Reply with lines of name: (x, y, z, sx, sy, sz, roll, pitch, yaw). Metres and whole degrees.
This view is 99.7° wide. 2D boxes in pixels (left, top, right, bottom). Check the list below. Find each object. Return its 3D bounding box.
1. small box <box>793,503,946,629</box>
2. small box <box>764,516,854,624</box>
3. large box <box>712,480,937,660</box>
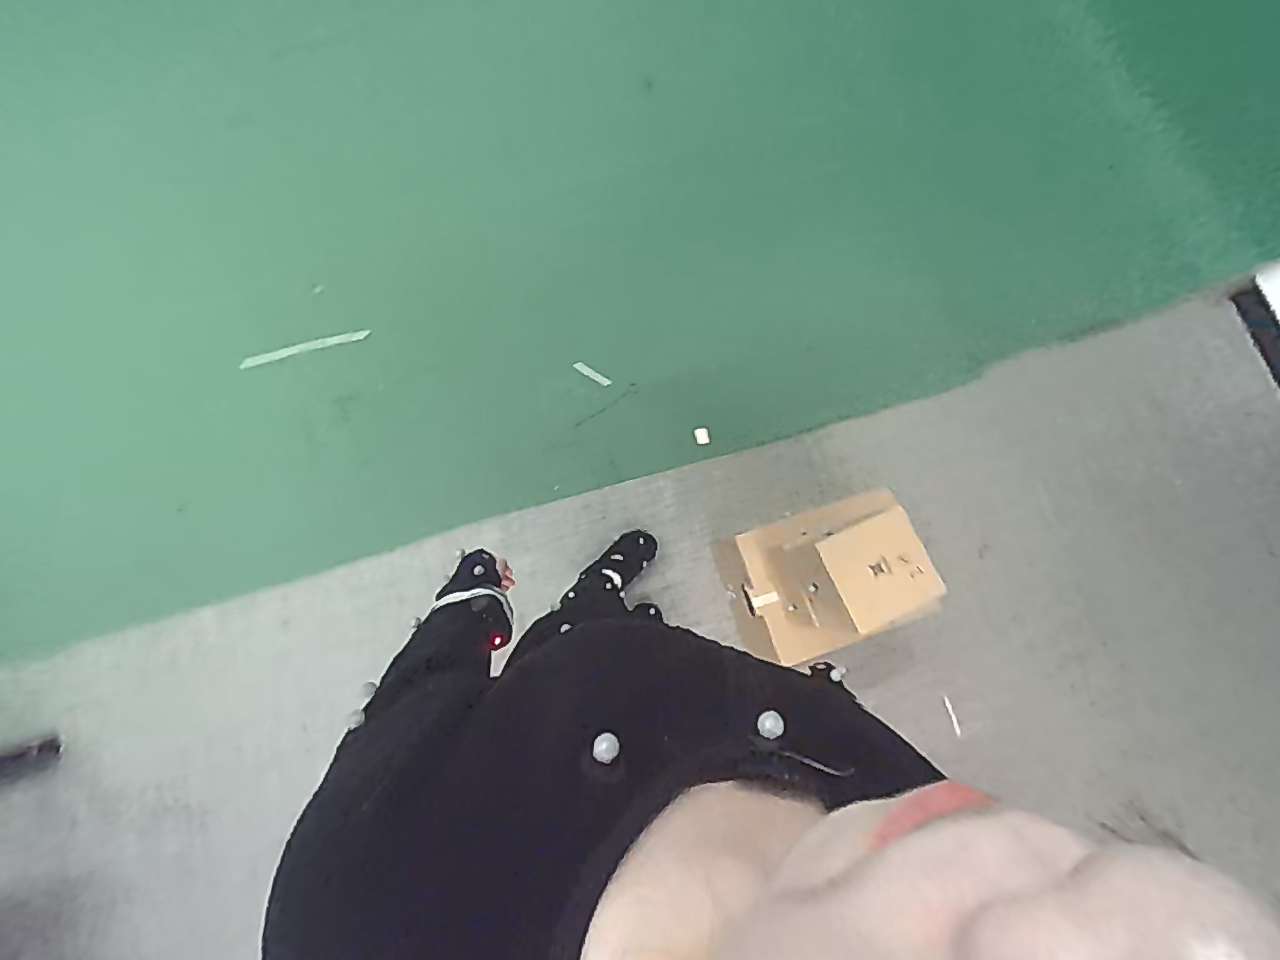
small box: (0.402, 0.158, 0.988, 0.179, 0.176, 0.168, -22, 82, -8)
small box: (0.387, 0.190, 1.149, 0.168, 0.176, 0.179, -18, 80, -7)
large box: (0.444, 0.230, 1.393, 0.408, 0.320, 0.320, -17, 81, -7)
